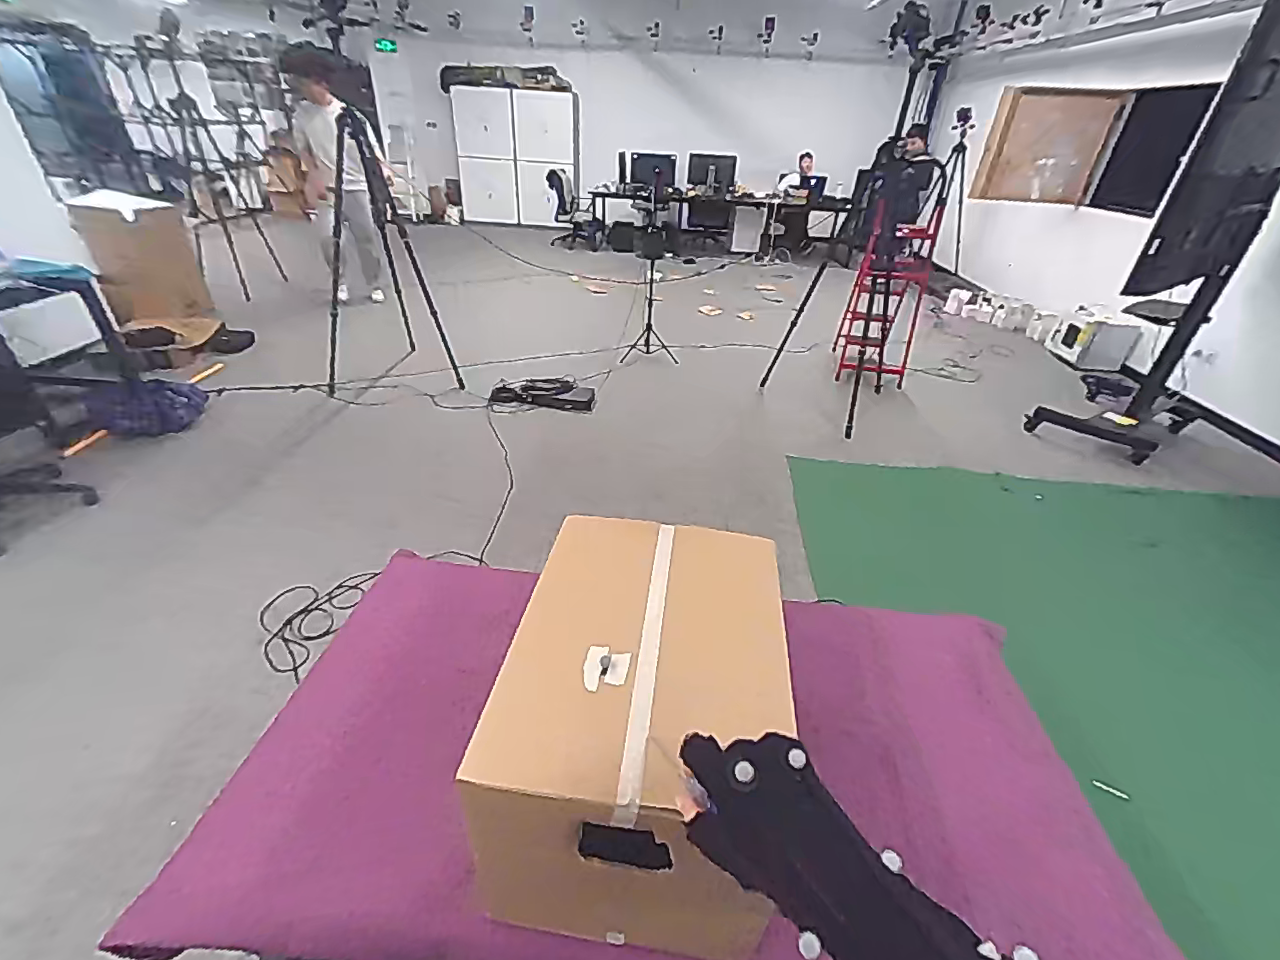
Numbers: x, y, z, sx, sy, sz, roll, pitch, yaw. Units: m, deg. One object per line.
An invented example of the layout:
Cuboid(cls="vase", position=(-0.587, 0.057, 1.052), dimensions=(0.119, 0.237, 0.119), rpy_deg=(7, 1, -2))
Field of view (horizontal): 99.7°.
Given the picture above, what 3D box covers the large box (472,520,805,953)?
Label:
Cuboid(cls="large box", position=(0.008, 0.310, 0.730), dimensions=(0.320, 0.320, 0.408), rpy_deg=(7, 34, 5))
